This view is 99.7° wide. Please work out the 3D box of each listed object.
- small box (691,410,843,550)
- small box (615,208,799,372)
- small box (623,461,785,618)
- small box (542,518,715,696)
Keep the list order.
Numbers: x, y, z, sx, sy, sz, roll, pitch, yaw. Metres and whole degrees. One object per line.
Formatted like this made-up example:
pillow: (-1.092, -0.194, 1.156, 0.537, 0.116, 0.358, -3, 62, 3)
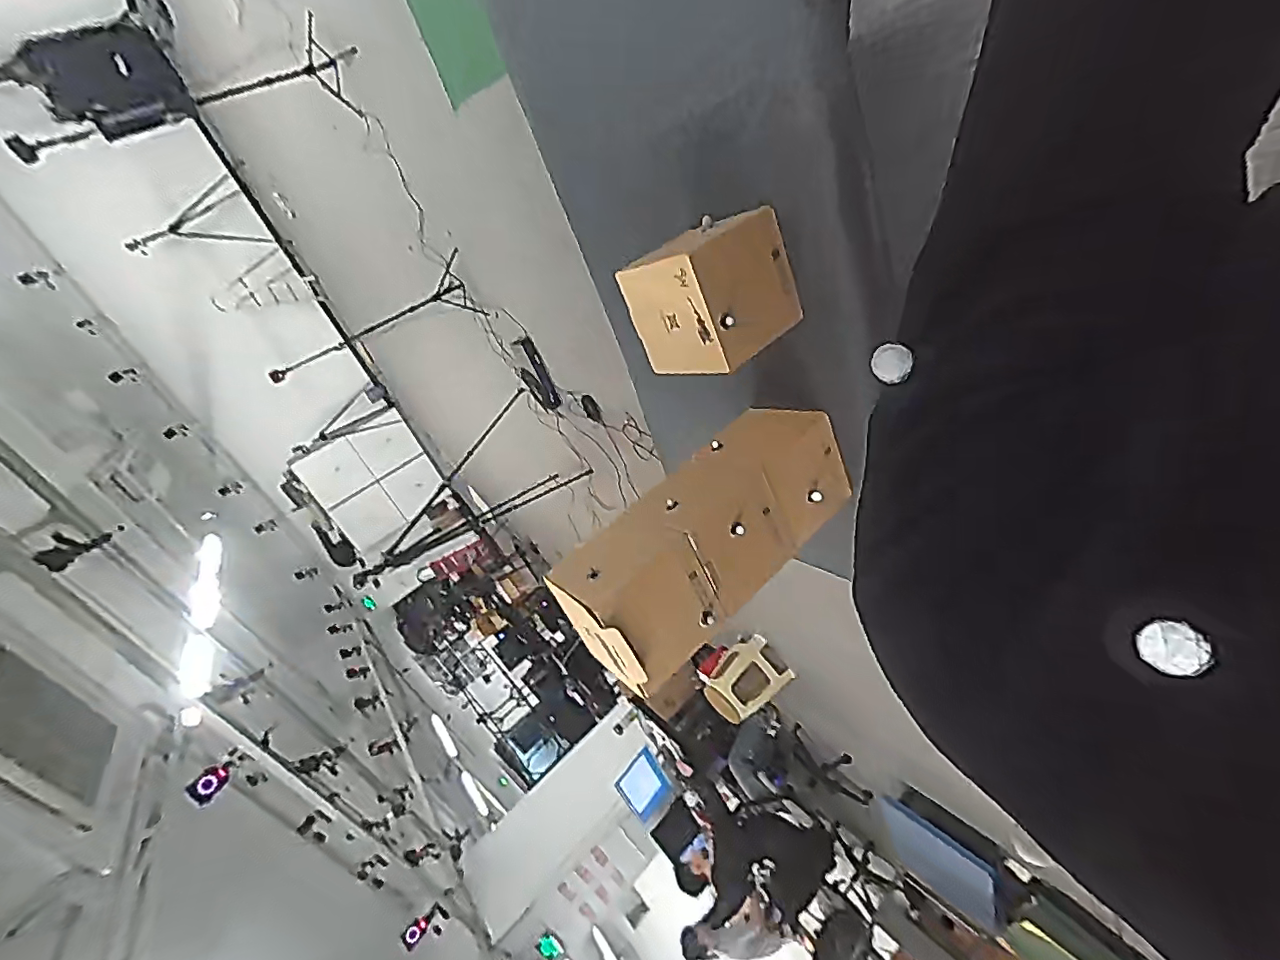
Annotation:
small box: (0.226, -0.010, 0.935, 0.179, 0.176, 0.168, 14, 136, 55)
small box: (0.099, -0.271, 0.793, 0.179, 0.176, 0.168, 17, 138, 54)
small box: (0.110, 0.083, 0.870, 0.179, 0.176, 0.168, 14, 135, 57)
small box: (-0.011, 0.175, 0.806, 0.179, 0.176, 0.168, 12, 133, 58)
